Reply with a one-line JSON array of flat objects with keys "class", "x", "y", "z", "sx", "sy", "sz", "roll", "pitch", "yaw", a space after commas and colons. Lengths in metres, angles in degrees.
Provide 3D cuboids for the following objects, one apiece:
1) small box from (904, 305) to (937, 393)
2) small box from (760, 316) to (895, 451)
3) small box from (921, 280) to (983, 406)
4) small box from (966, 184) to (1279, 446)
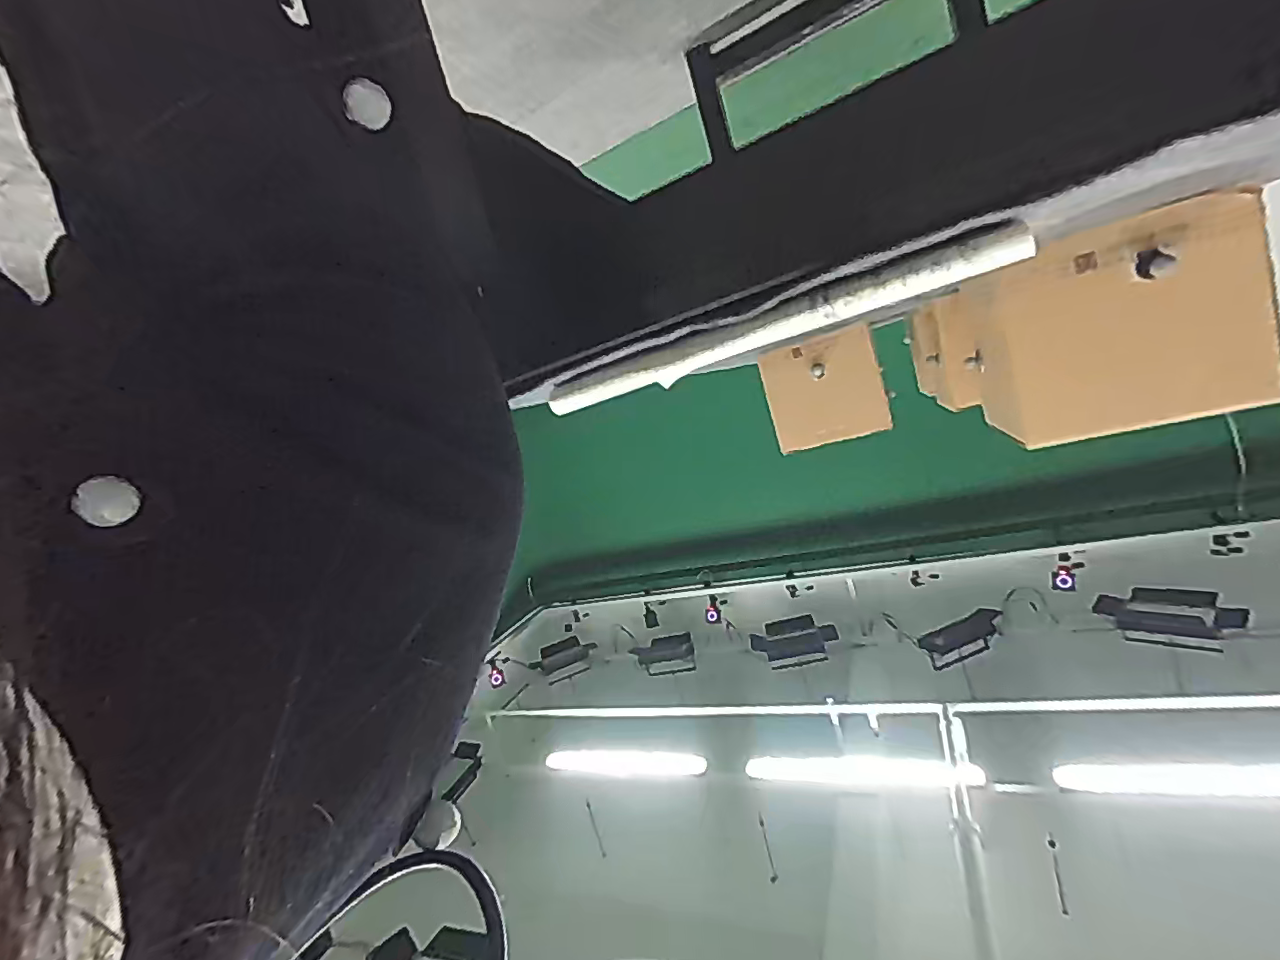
[{"class": "small box", "x": 0.633, "y": -0.278, "z": 1.049, "sx": 0.179, "sy": 0.176, "sz": 0.168, "roll": -13, "pitch": -173, "yaw": 23}, {"class": "small box", "x": 0.308, "y": -0.160, "z": 0.888, "sx": 0.168, "sy": 0.176, "sz": 0.179, "roll": -14, "pitch": -173, "yaw": 26}, {"class": "small box", "x": 0.525, "y": -0.216, "z": 0.788, "sx": 0.179, "sy": 0.176, "sz": 0.168, "roll": -14, "pitch": -173, "yaw": 23}, {"class": "small box", "x": 0.418, "y": -0.144, "z": 0.498, "sx": 0.168, "sy": 0.176, "sz": 0.179, "roll": -14, "pitch": -171, "yaw": 24}]
